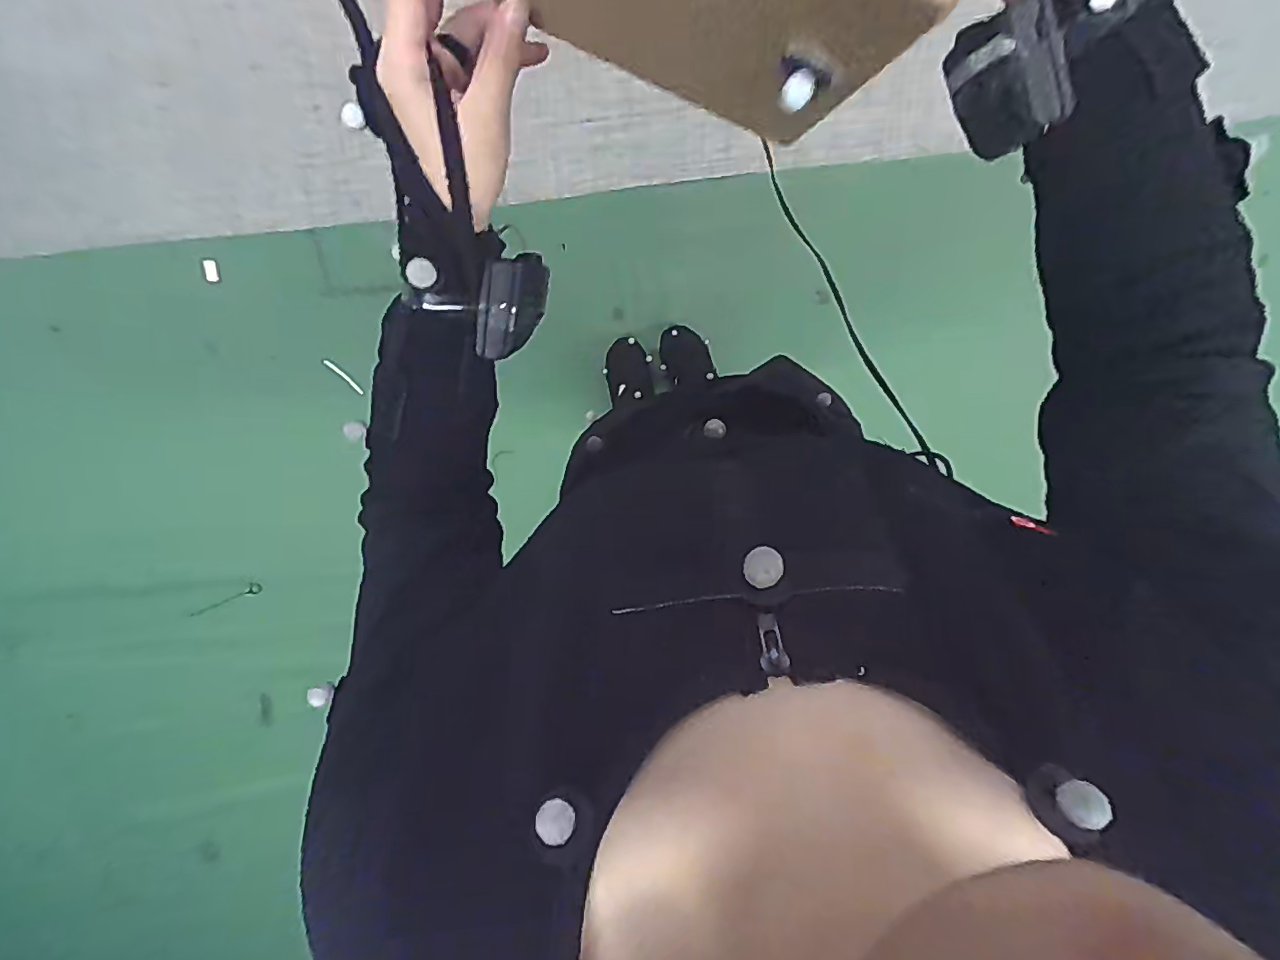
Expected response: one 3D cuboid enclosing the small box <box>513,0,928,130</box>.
[{"bbox_3d":[0.038,-0.271,0.189,0.176,0.168,0.179,19,107,-8],"label":"small box"}]
